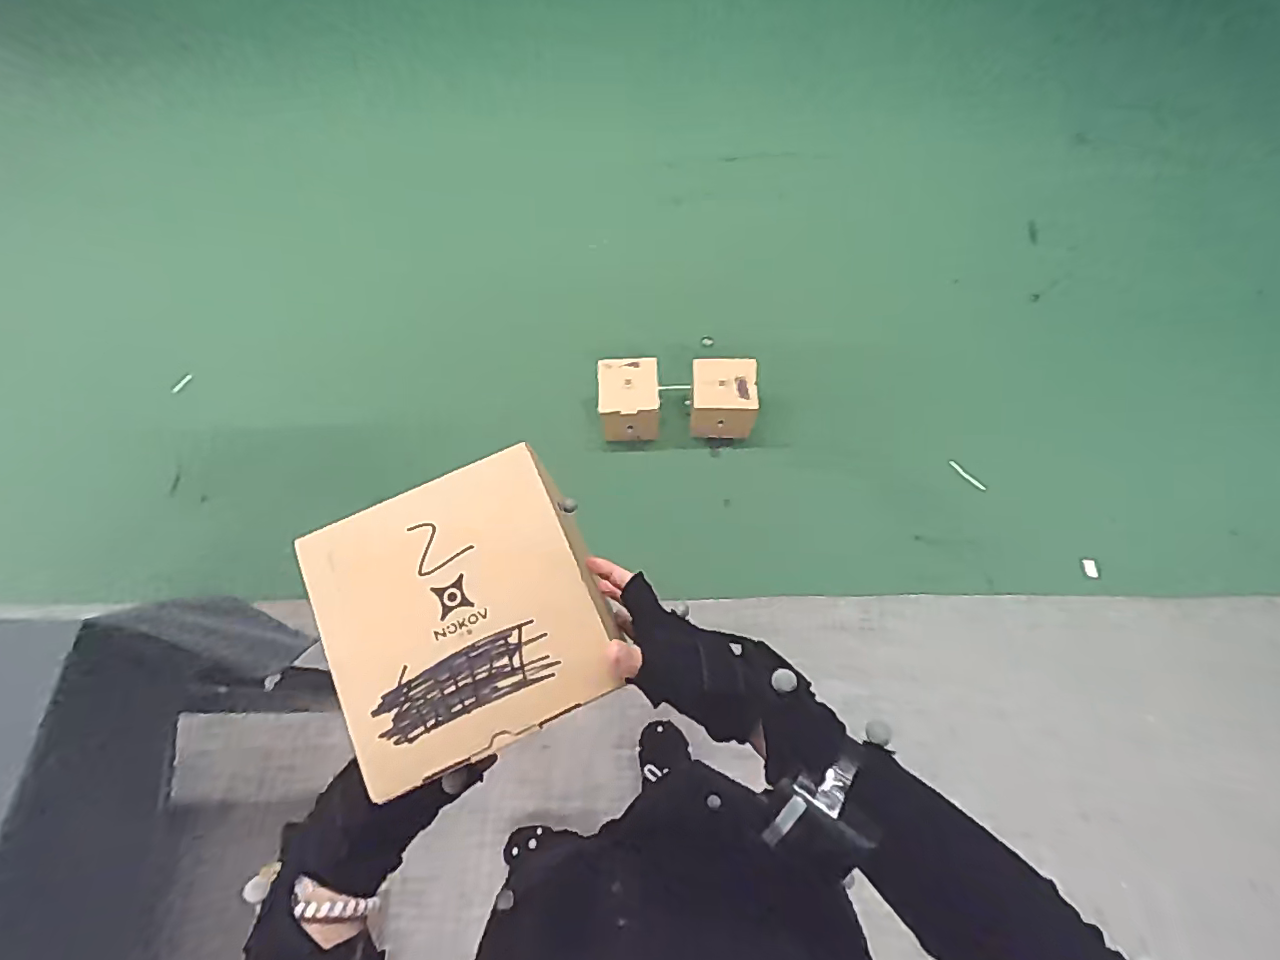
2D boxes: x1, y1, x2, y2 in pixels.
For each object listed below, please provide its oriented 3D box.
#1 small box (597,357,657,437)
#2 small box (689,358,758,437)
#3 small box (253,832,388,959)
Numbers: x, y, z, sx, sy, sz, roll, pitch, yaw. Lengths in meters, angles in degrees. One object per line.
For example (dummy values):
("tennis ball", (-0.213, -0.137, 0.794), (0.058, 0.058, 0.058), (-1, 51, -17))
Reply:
("small box", (-0.034, -0.231, 1.554), (0.168, 0.176, 0.179), (-2, 68, 0))
("small box", (0.233, -0.232, 1.549), (0.179, 0.176, 0.168), (1, 67, 2))
("small box", (-0.639, 0.842, 1.098), (0.179, 0.176, 0.168), (-12, 67, -4))
